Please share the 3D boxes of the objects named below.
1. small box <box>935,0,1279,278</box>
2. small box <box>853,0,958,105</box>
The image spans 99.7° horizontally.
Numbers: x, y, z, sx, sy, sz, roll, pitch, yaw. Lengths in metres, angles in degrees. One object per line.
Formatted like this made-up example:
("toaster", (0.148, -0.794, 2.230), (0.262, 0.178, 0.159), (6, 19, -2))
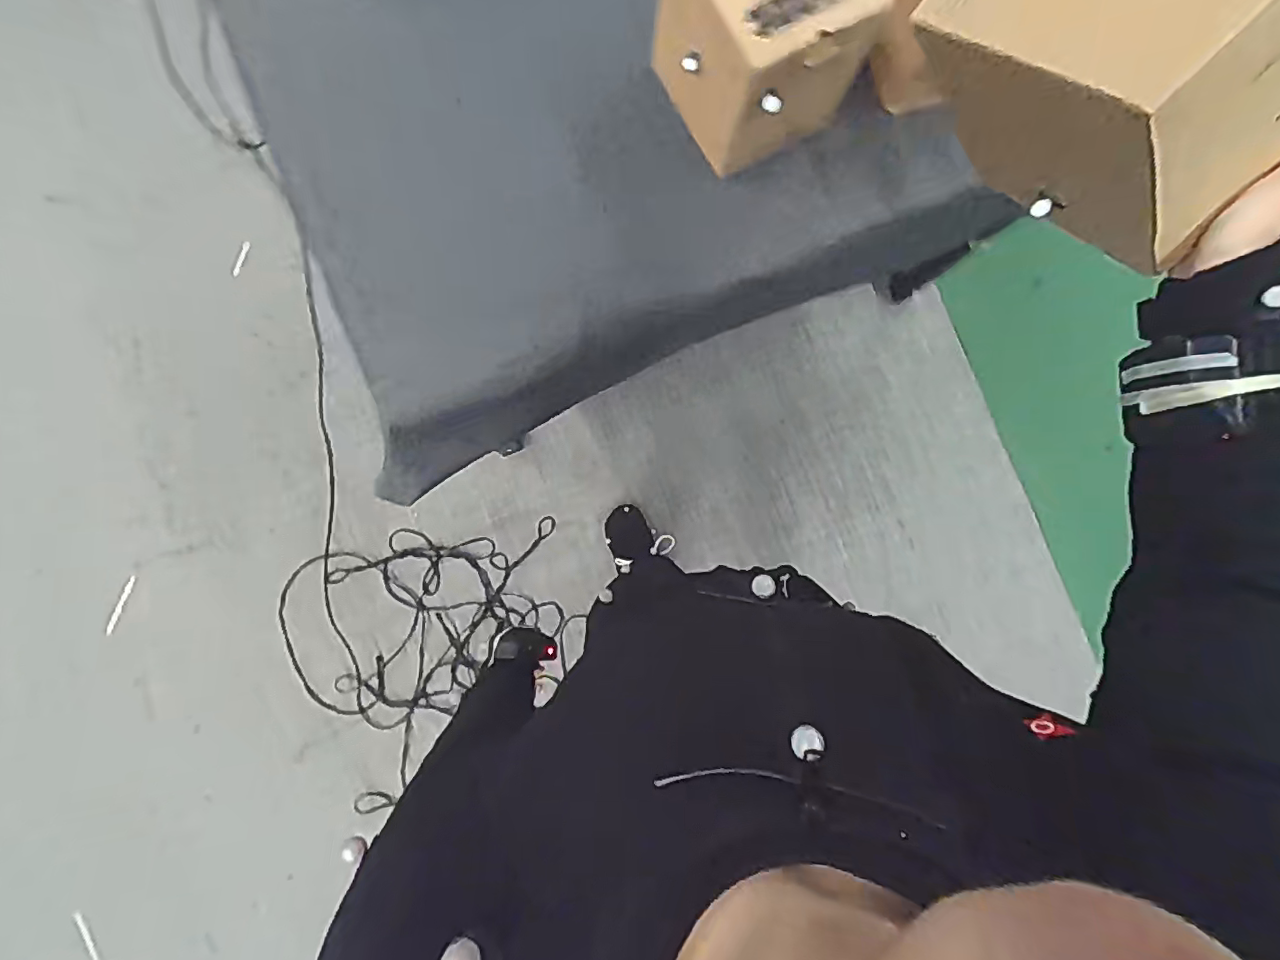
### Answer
("small box", (0.313, -0.259, 0.308), (0.168, 0.179, 0.176), (-47, 50, 26))
("small box", (0.377, -0.594, 0.635), (0.168, 0.176, 0.179), (-17, 88, -5))
